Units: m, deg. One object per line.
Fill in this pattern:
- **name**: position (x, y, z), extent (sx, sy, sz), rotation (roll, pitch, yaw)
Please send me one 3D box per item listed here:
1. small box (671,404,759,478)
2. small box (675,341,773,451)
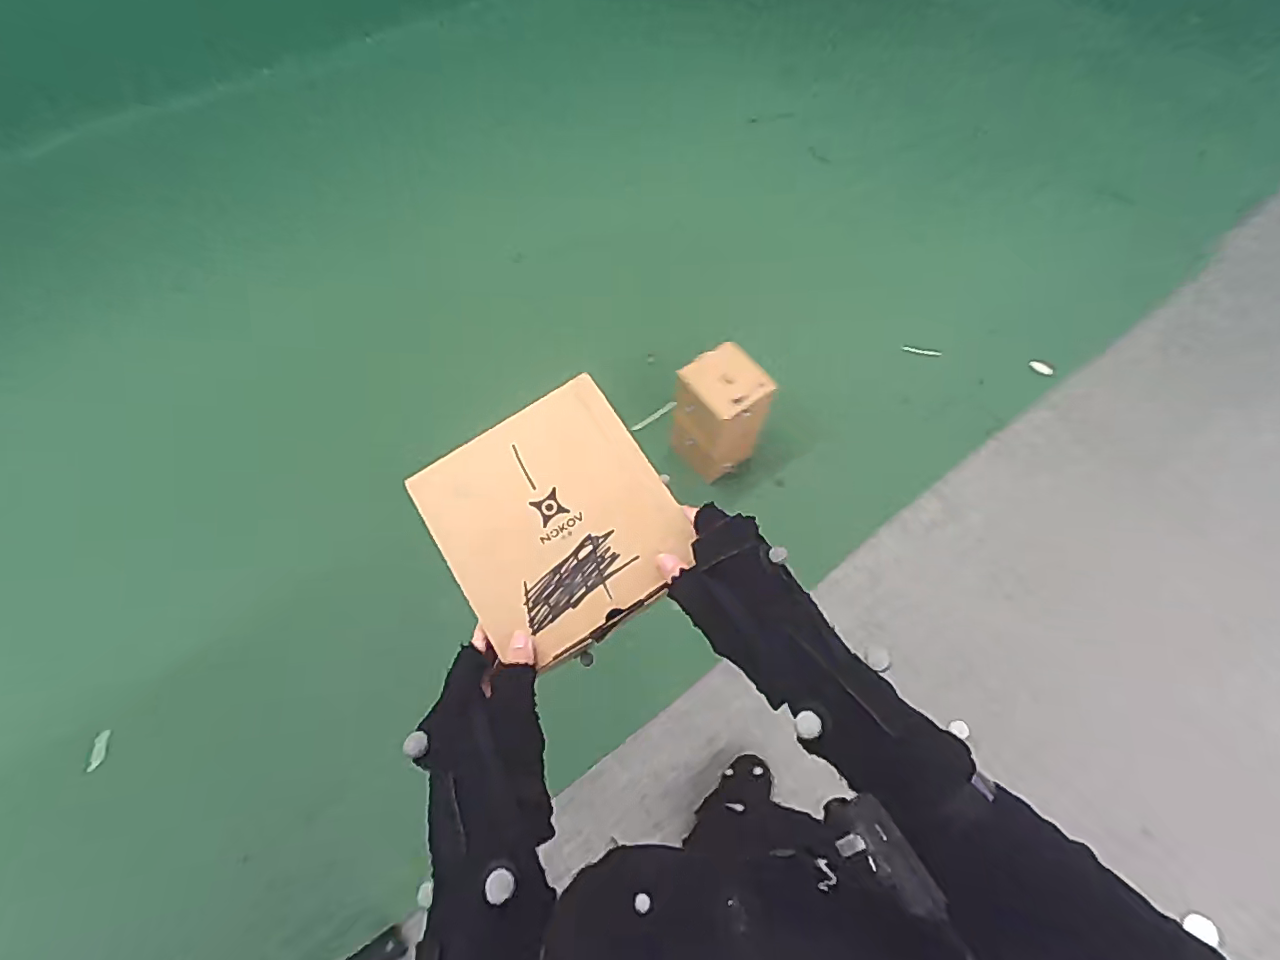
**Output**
- **small box**: position (0.196, -0.136, 1.480), extent (0.168, 0.176, 0.179), rotation (-33, 68, -13)
- **small box**: position (0.199, -0.205, 1.352), extent (0.168, 0.176, 0.179), rotation (-33, 67, -15)
